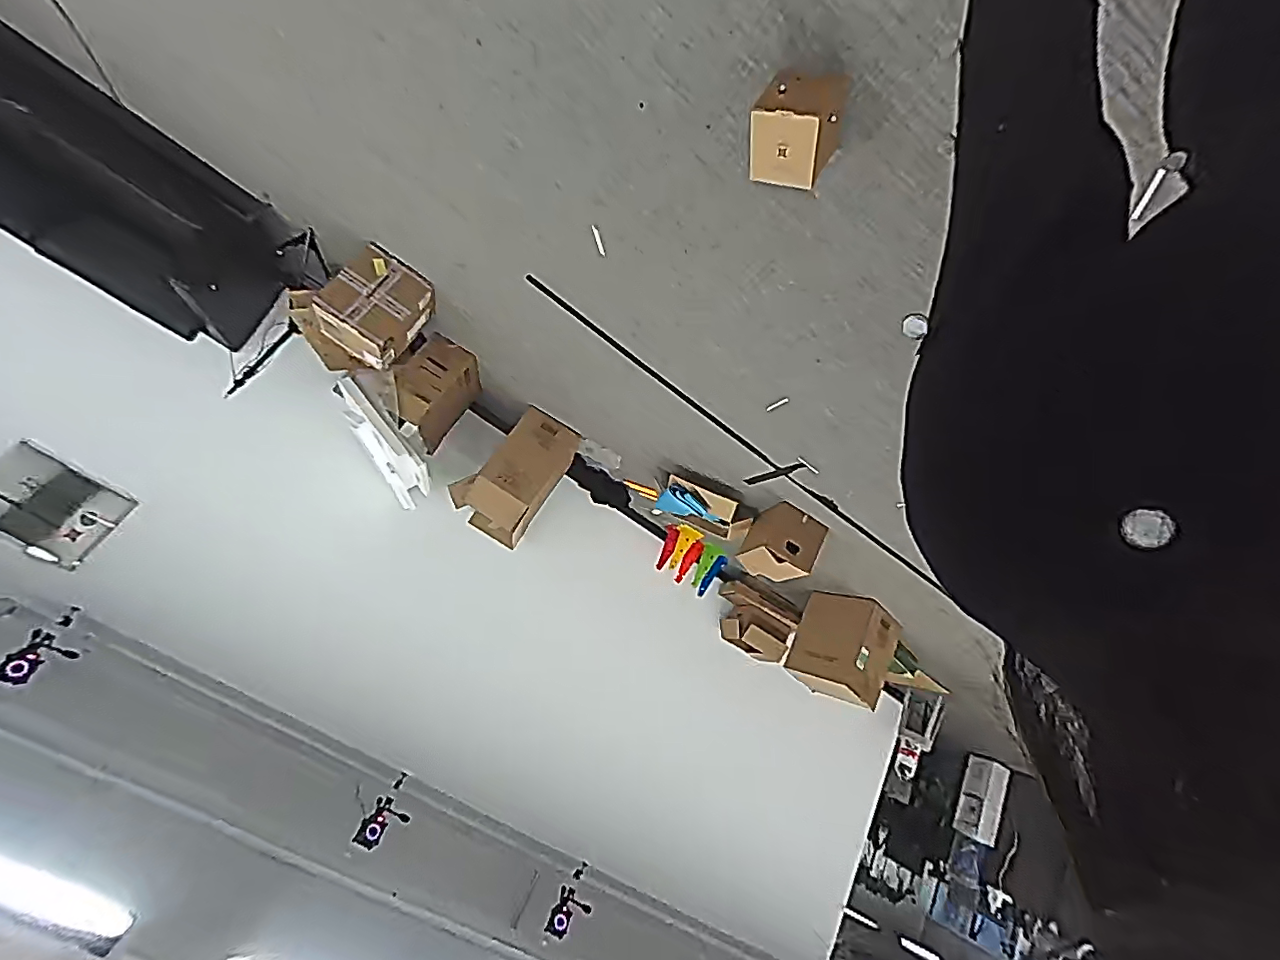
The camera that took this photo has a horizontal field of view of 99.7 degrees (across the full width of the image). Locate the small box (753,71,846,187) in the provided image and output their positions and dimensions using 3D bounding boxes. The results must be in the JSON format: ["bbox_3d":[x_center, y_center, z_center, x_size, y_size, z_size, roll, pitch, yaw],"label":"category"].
[{"bbox_3d":[0.383,-0.851,1.308,0.168,0.176,0.179,23,159,22],"label":"small box"}]
